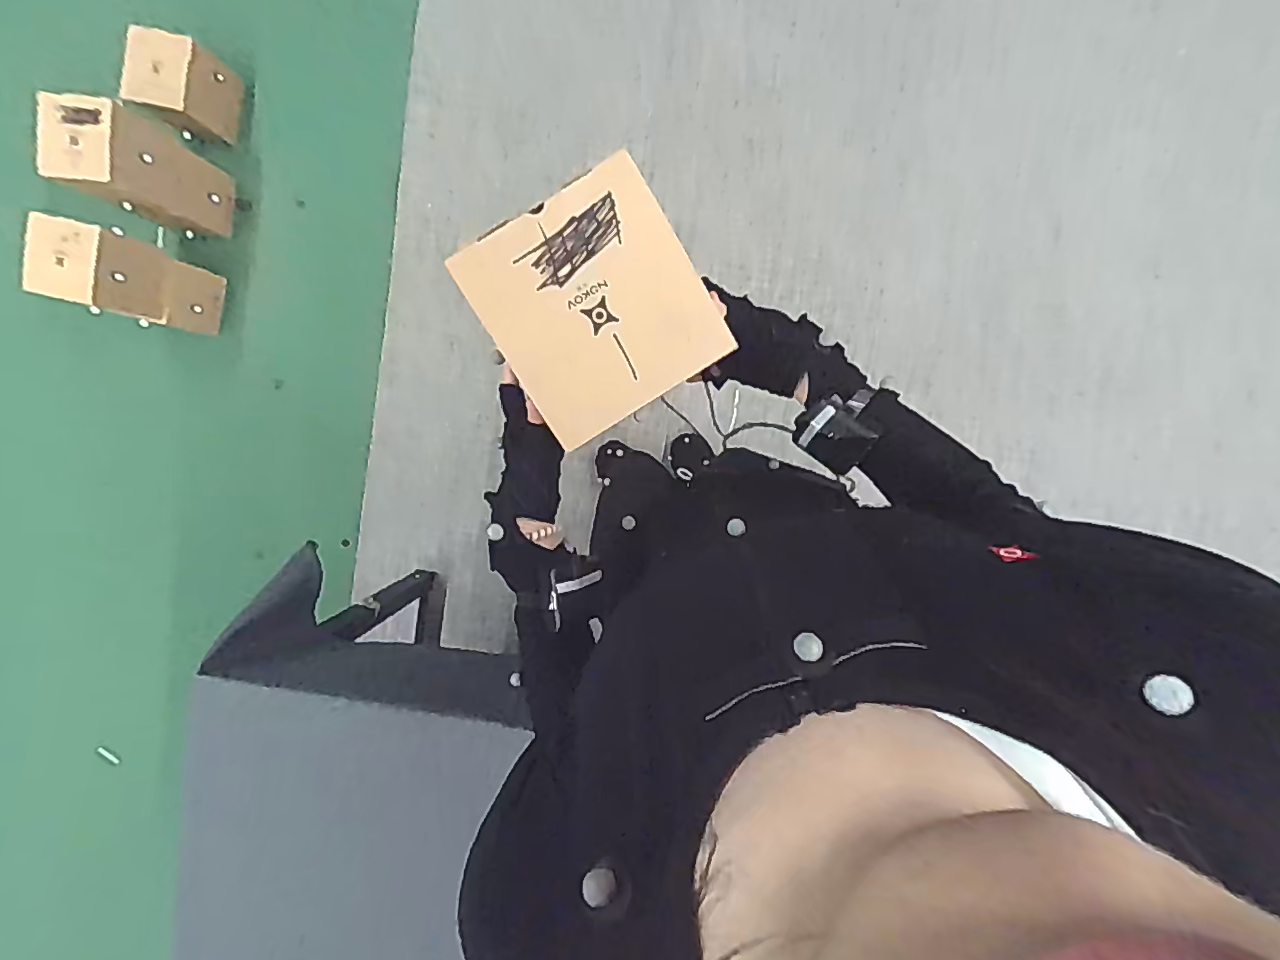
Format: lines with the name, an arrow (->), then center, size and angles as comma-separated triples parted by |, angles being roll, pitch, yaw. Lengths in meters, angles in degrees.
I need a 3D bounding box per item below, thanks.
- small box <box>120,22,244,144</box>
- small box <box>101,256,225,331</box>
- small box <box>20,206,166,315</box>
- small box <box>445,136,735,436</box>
small box -> -1.162, -1.009, 1.387 | 0.168, 0.176, 0.179 | 13, 95, 2
small box -> -1.247, -0.501, 1.424 | 0.179, 0.176, 0.168 | 15, 95, 2
small box -> -1.263, -0.500, 1.260 | 0.168, 0.176, 0.179 | 13, 95, 1
small box -> -0.043, -0.154, 0.494 | 0.168, 0.176, 0.179 | -32, 98, 0
